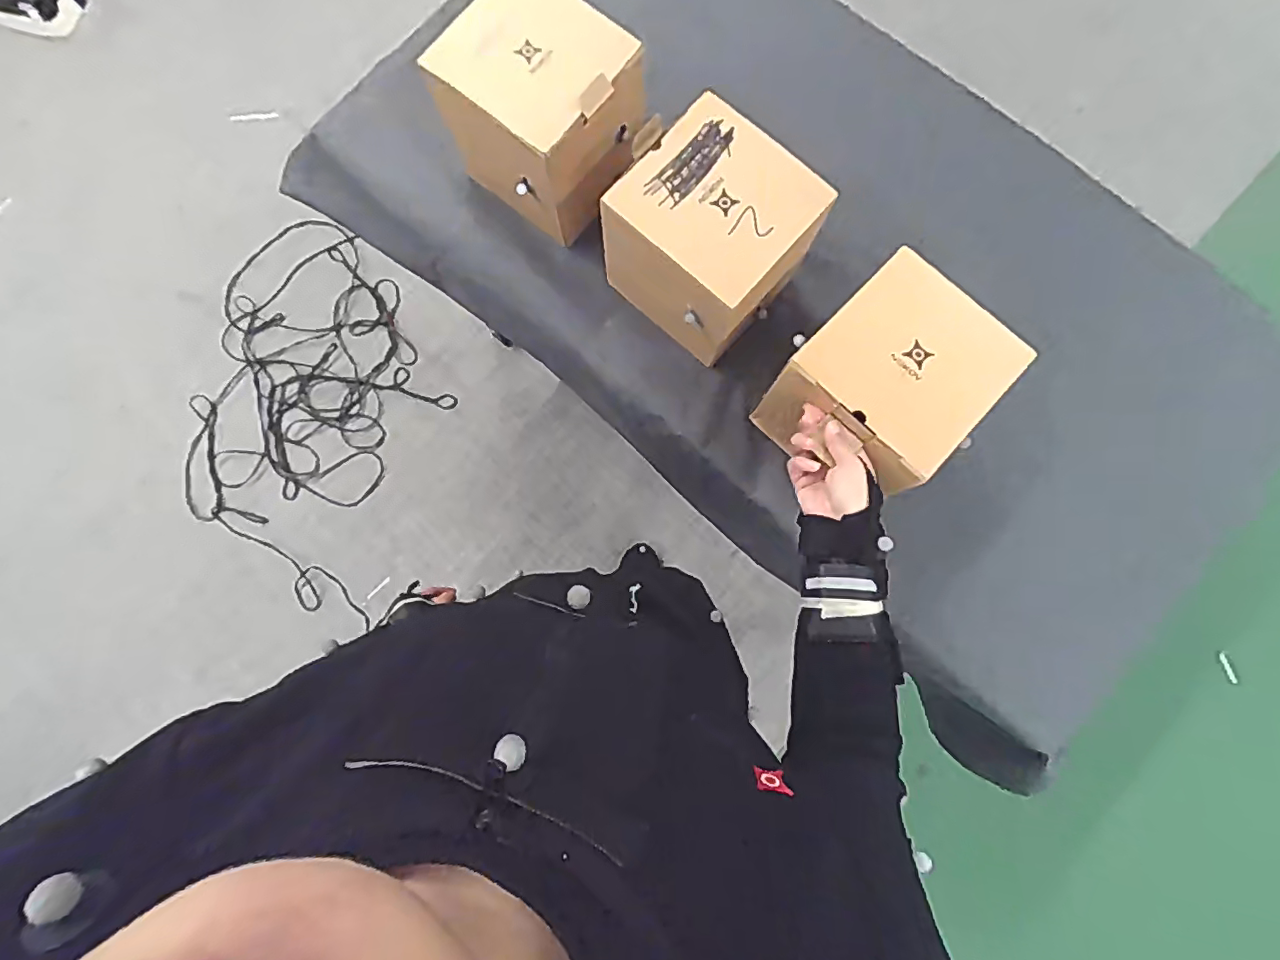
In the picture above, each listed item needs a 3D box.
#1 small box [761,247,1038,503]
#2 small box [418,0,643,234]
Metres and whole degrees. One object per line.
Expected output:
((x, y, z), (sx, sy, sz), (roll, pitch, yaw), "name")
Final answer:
((0.257, -0.098, 0.581), (0.168, 0.176, 0.179), (43, 80, 6), "small box")
((-0.112, -0.425, 0.633), (0.179, 0.176, 0.168), (37, 83, 5), "small box")
